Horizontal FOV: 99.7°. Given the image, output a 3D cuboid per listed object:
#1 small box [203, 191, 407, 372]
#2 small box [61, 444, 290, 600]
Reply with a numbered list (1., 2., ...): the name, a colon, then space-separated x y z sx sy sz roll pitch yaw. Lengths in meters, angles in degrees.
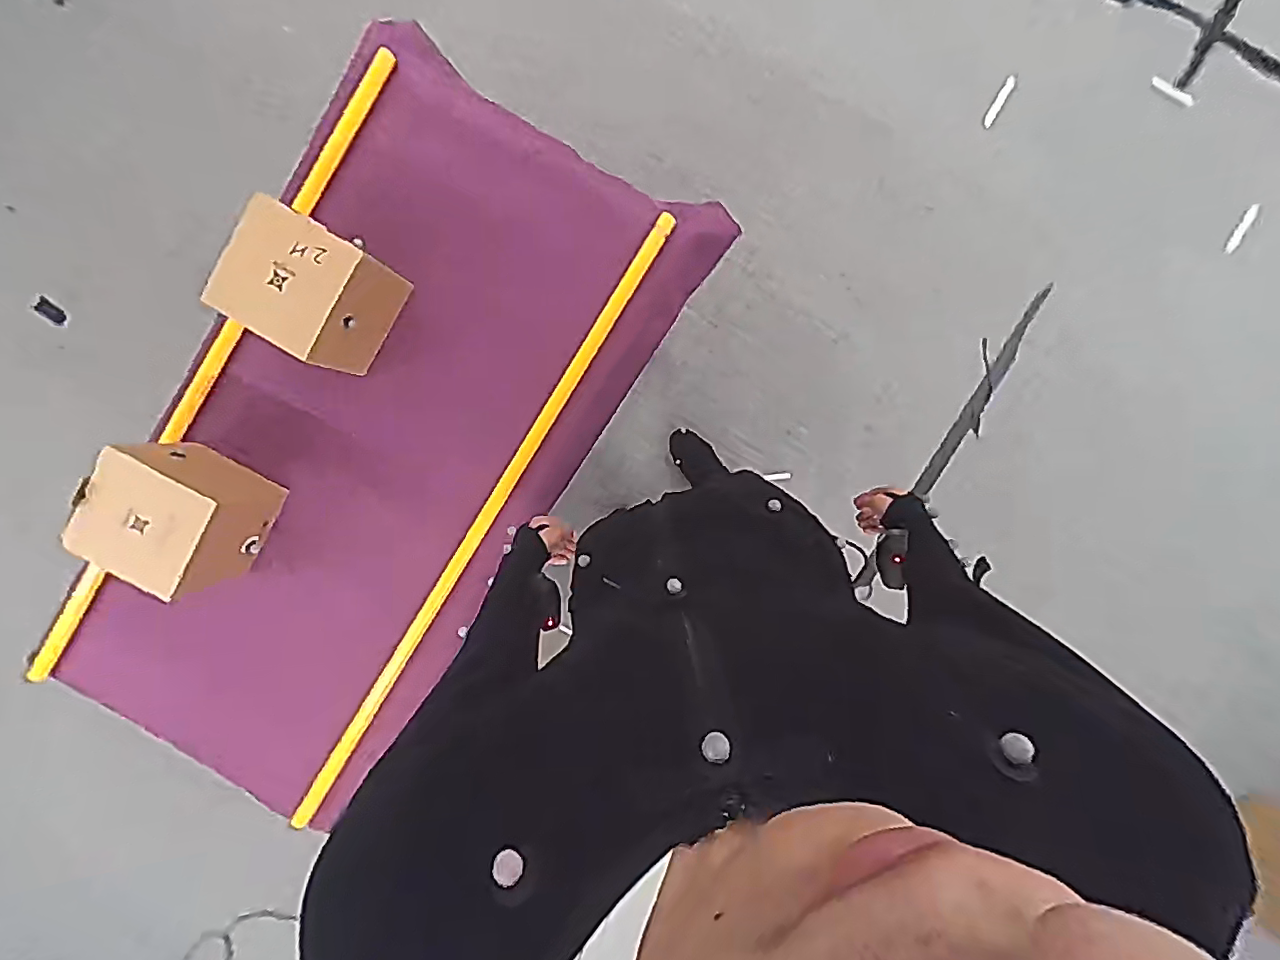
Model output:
1. small box: -0.486 -0.281 0.815 0.168 0.176 0.179 31 93 -3
2. small box: -0.702 0.057 0.838 0.179 0.176 0.168 28 94 -2
